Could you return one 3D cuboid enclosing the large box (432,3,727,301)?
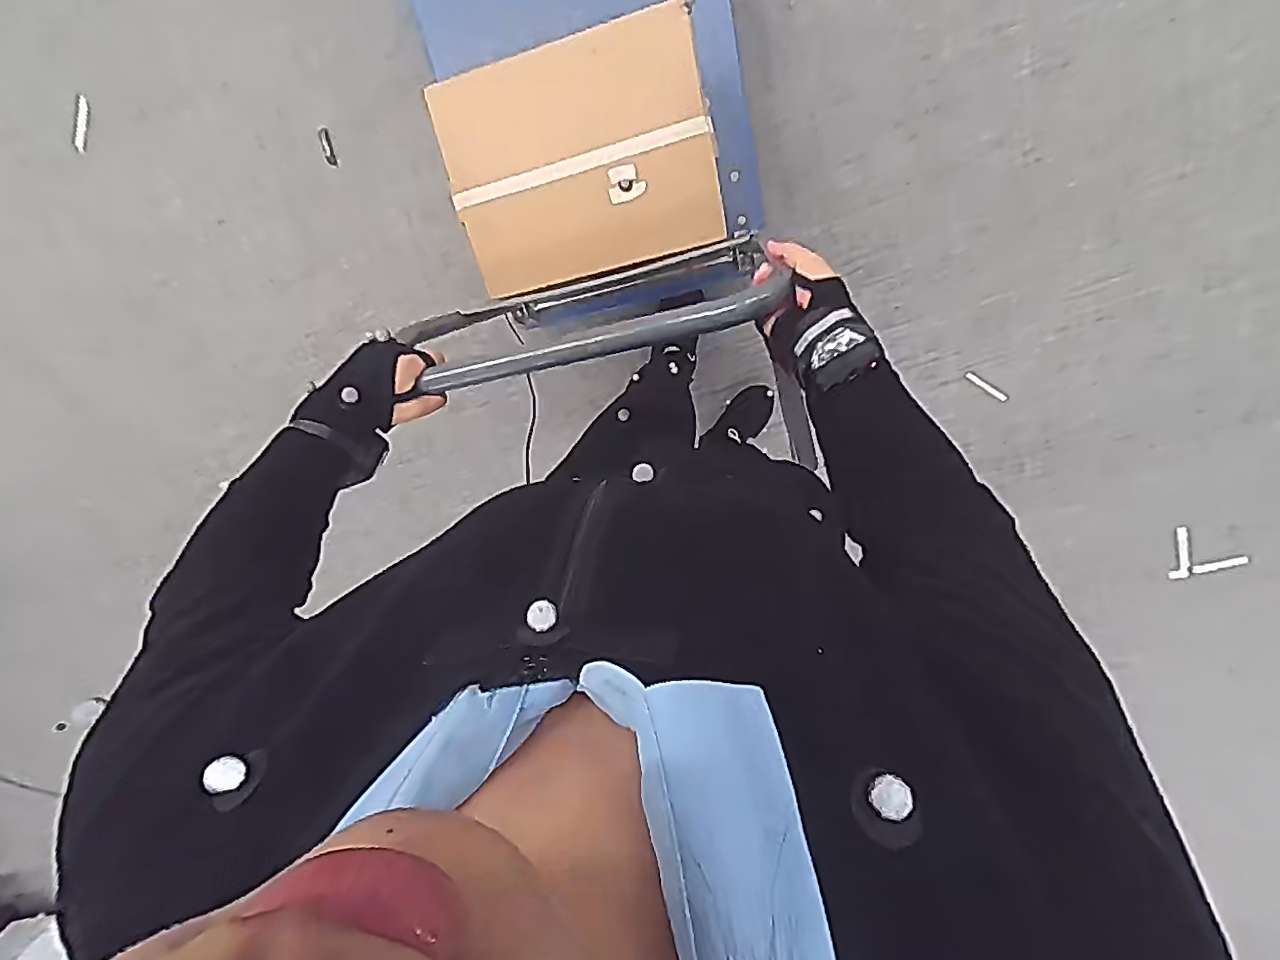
[{"bbox_3d":[-0.075,-0.531,0.965,0.408,0.320,0.320,-11,111,10],"label":"large box"}]
